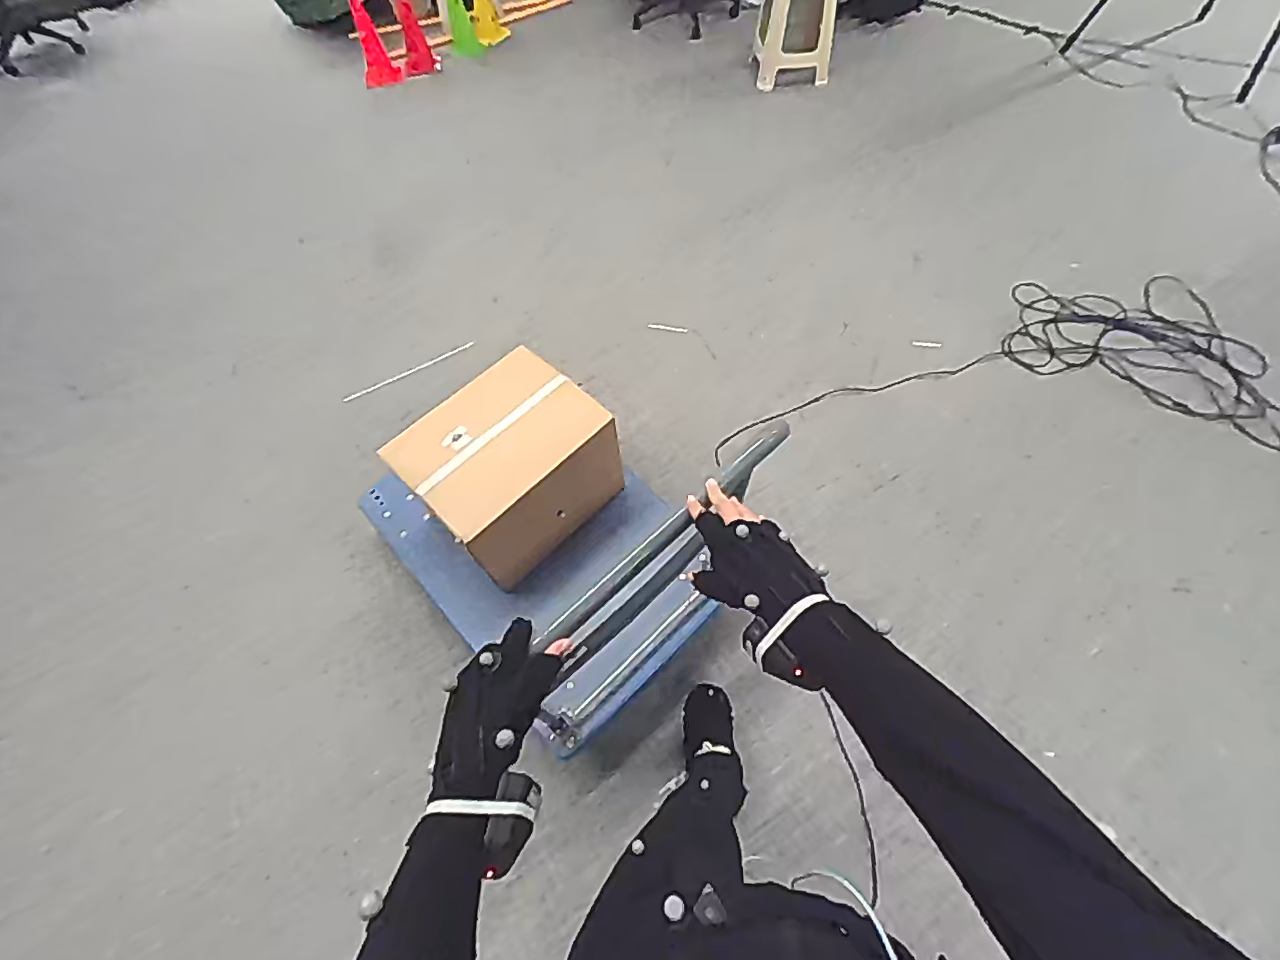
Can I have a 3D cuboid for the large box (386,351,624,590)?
[{"bbox_3d":[-0.289,-0.017,1.284,0.320,0.320,0.408,38,70,22],"label":"large box"}]
